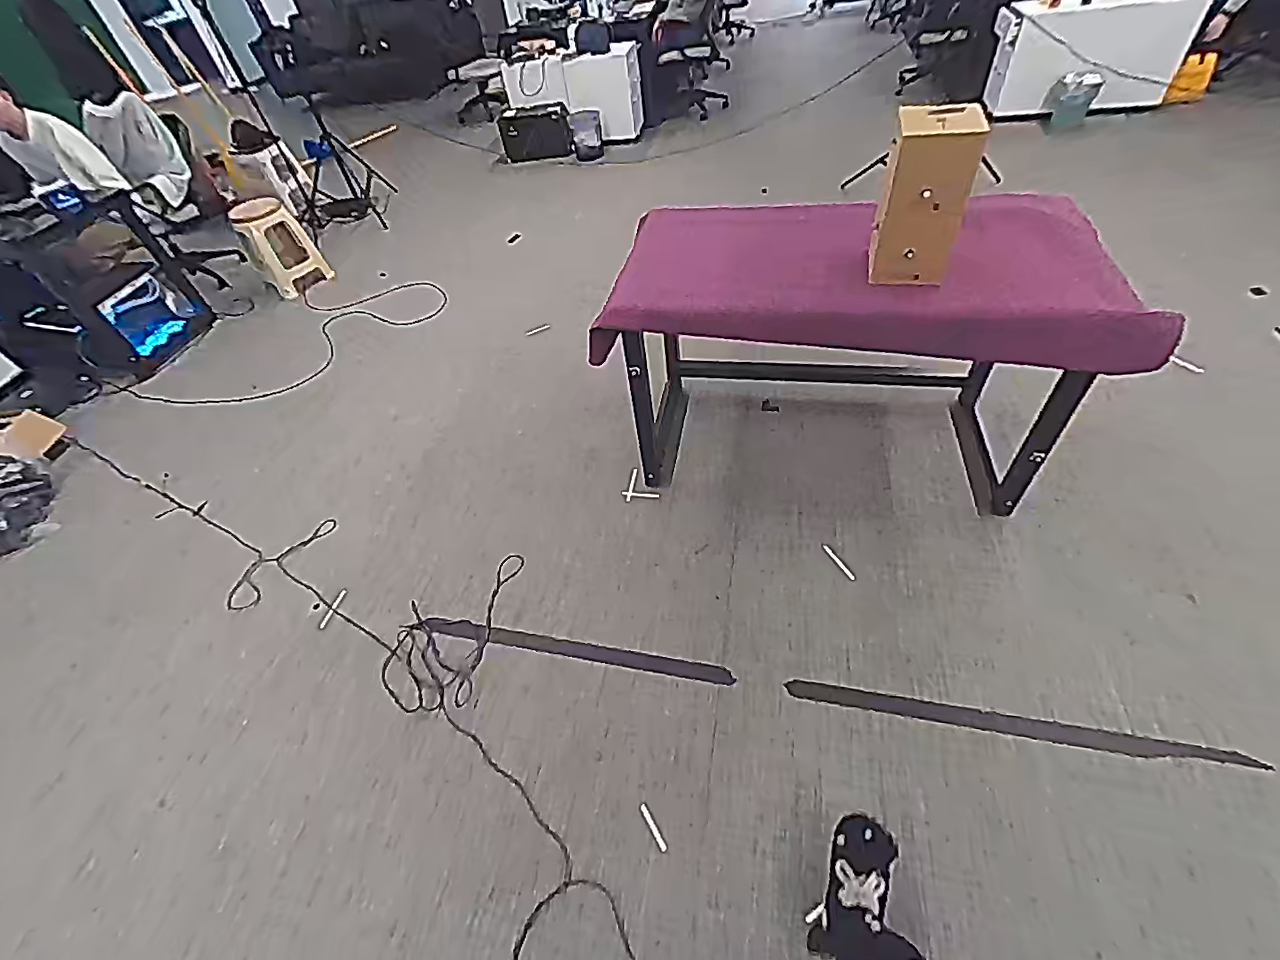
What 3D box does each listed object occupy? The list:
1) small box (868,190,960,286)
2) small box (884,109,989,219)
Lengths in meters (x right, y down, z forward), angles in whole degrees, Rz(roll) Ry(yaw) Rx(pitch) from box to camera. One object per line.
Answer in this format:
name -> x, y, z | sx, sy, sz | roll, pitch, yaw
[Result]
small box -> 0.665, -0.594, 1.329 | 0.168, 0.176, 0.179 | 8, 50, 15
small box -> 0.650, -0.706, 1.209 | 0.168, 0.176, 0.179 | 7, 50, 15
